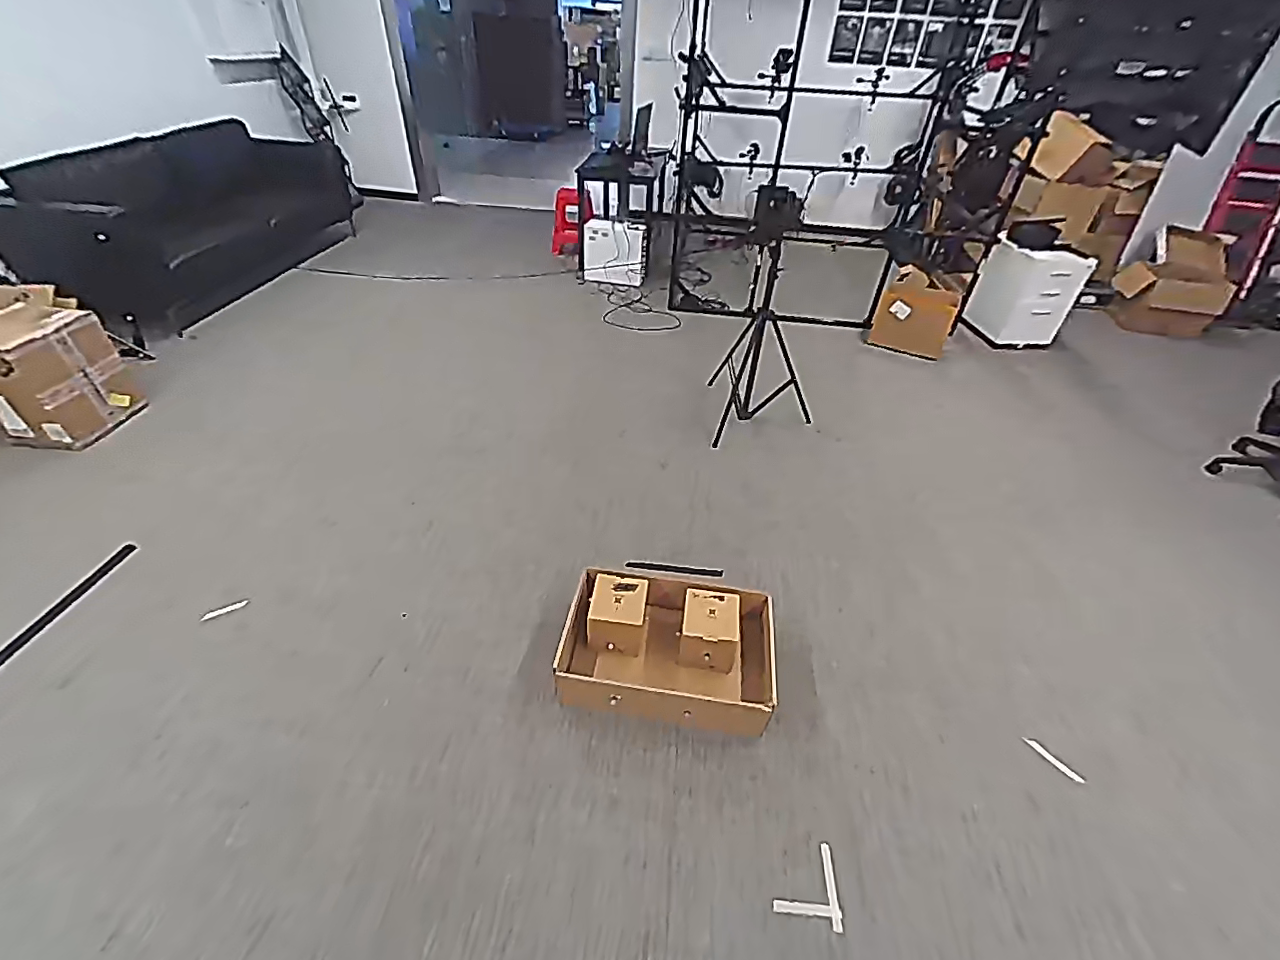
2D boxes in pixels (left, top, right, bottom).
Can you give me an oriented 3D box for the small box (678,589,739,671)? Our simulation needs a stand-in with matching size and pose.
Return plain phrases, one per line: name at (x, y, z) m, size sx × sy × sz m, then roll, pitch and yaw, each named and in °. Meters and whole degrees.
small box at (0.211, 0.466, 1.673) m, size 0.168 × 0.176 × 0.179 m, roll 7°, pitch 41°, yaw 5°
